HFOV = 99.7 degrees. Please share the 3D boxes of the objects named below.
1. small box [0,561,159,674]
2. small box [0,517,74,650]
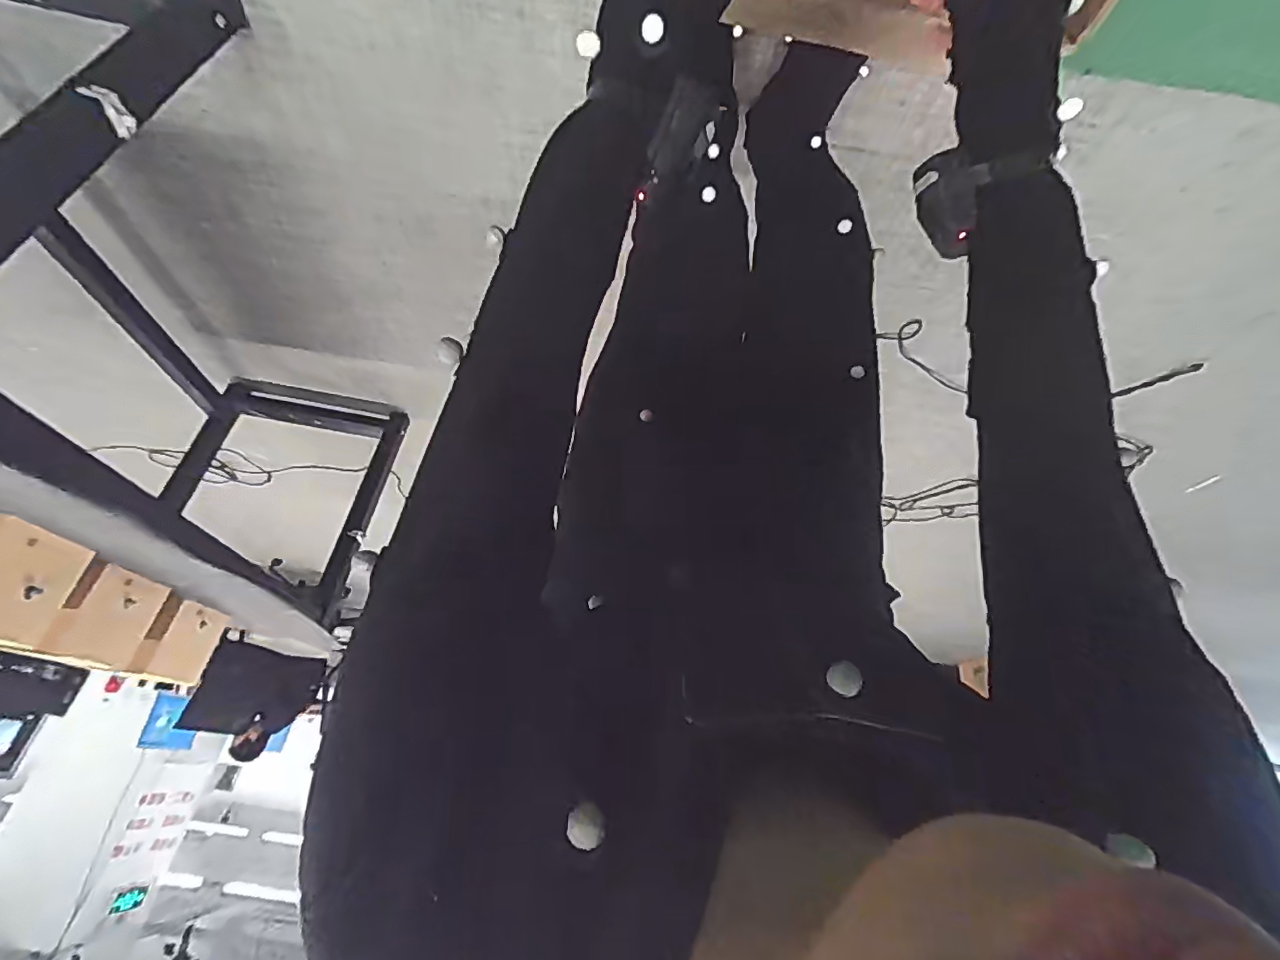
[{"bbox_3d":[-1.065,0.246,0.997,0.179,0.176,0.168,8,151,0],"label":"small box"},{"bbox_3d":[-1.018,0.143,0.803,0.179,0.176,0.168,9,151,0],"label":"small box"}]
